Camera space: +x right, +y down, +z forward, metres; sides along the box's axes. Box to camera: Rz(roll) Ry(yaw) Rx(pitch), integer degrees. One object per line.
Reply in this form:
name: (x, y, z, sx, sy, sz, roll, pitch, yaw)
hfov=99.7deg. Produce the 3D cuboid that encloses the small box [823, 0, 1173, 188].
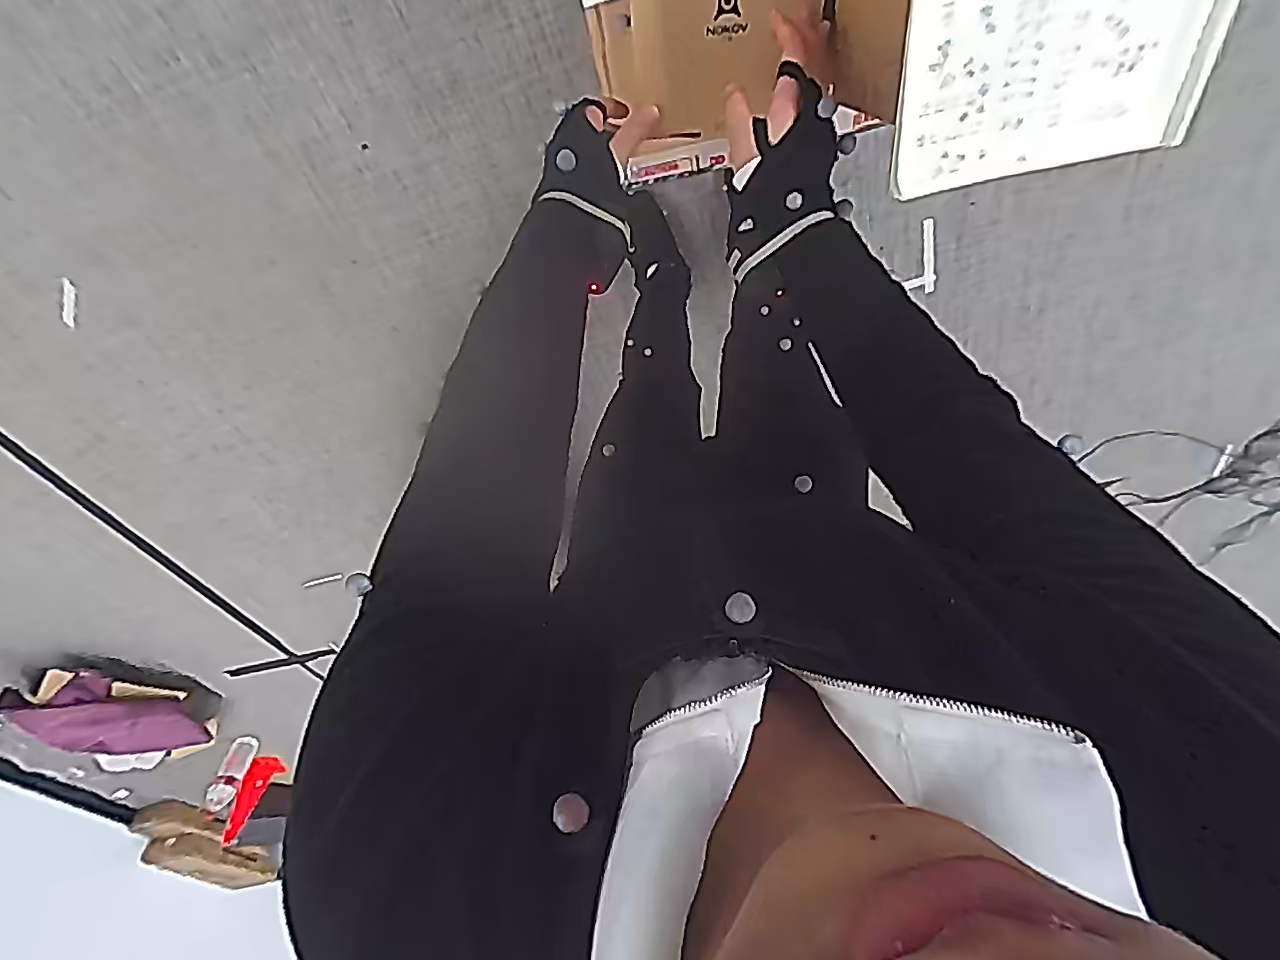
small box: (0.245, -0.344, 0.399, 0.168, 0.176, 0.179, -11, 132, 4)
